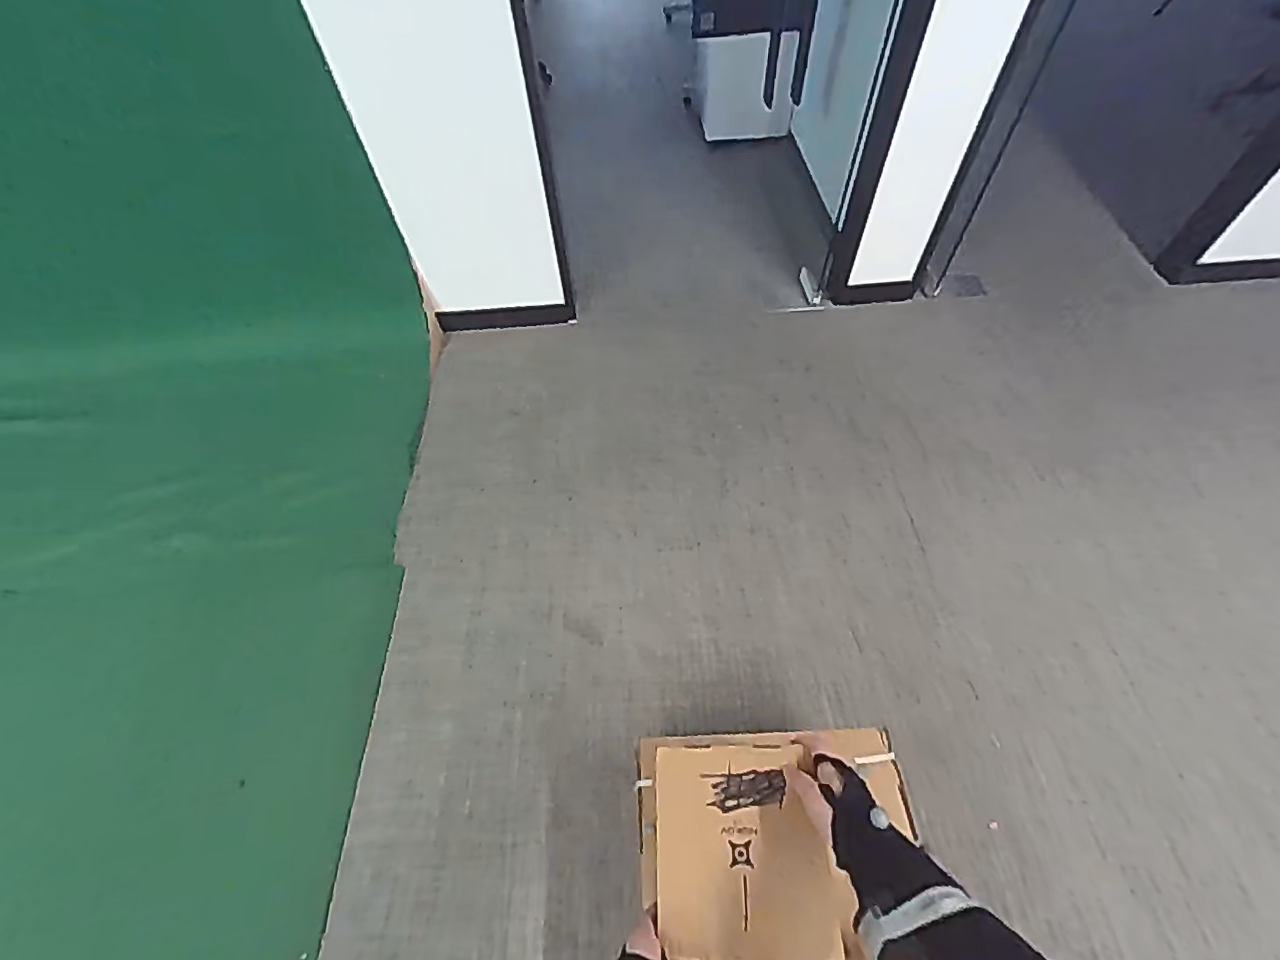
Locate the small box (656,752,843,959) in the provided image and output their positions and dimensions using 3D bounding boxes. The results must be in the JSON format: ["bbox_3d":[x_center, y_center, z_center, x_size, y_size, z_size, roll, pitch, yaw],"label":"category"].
[{"bbox_3d":[0.101,0.408,0.586,0.168,0.176,0.179,-2,54,3],"label":"small box"}]
